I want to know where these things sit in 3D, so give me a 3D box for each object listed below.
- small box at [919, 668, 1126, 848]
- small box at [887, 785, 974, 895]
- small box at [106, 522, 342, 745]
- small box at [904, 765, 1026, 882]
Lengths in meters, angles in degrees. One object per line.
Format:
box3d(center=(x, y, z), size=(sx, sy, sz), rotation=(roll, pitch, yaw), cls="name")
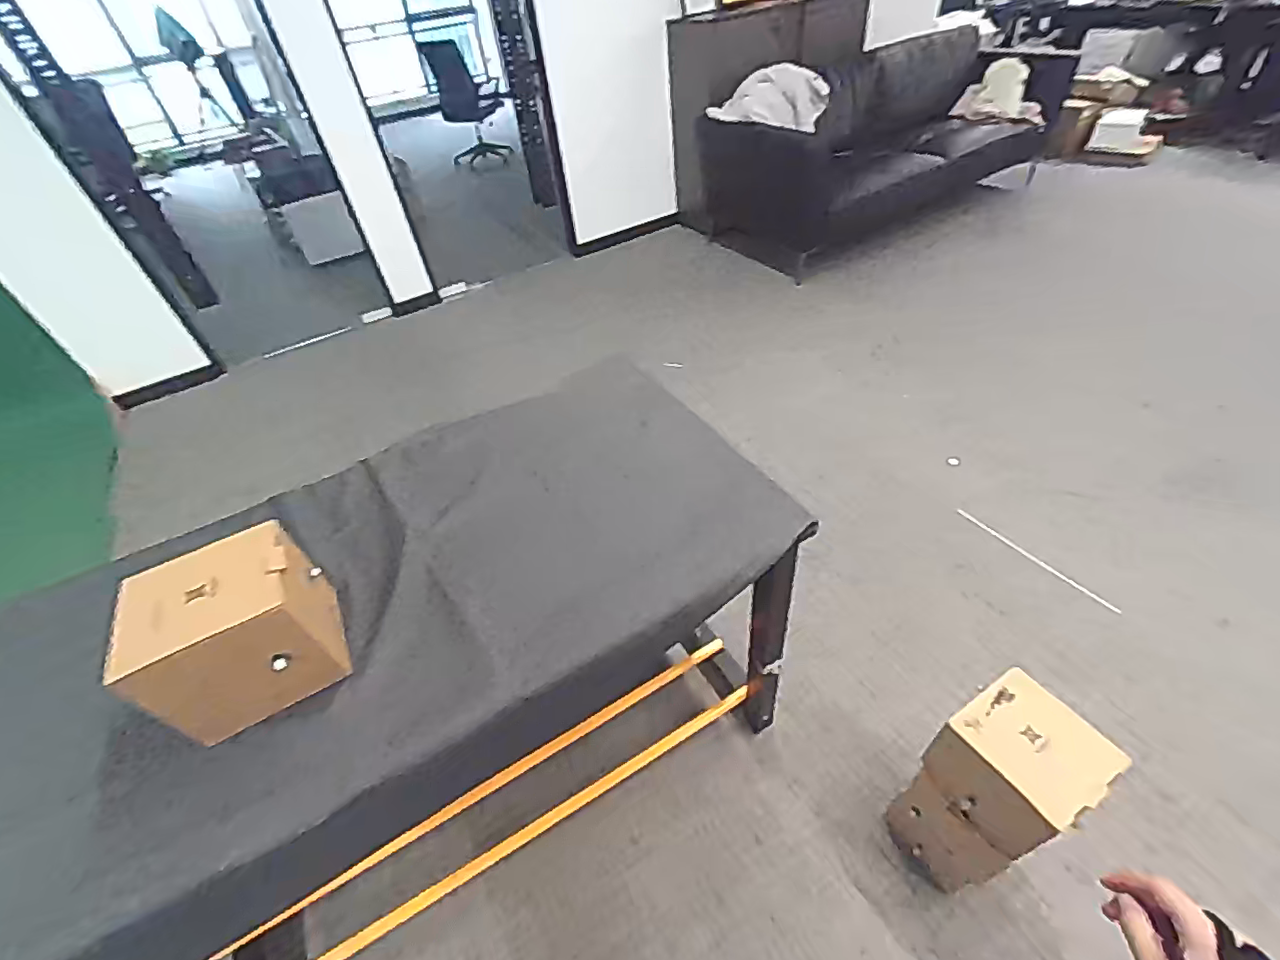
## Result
box3d(center=(0.580, 0.438, 0.846), size=(0.168, 0.176, 0.179), rotation=(-24, 47, -19), cls="small box")
box3d(center=(0.622, 0.674, 1.072), size=(0.179, 0.176, 0.168), rotation=(-25, 45, -18), cls="small box")
box3d(center=(-0.504, 0.192, 0.686), size=(0.179, 0.176, 0.168), rotation=(-27, 45, -19), cls="small box")
box3d(center=(0.597, 0.562, 0.953), size=(0.179, 0.176, 0.168), rotation=(-26, 46, -20), cls="small box")
